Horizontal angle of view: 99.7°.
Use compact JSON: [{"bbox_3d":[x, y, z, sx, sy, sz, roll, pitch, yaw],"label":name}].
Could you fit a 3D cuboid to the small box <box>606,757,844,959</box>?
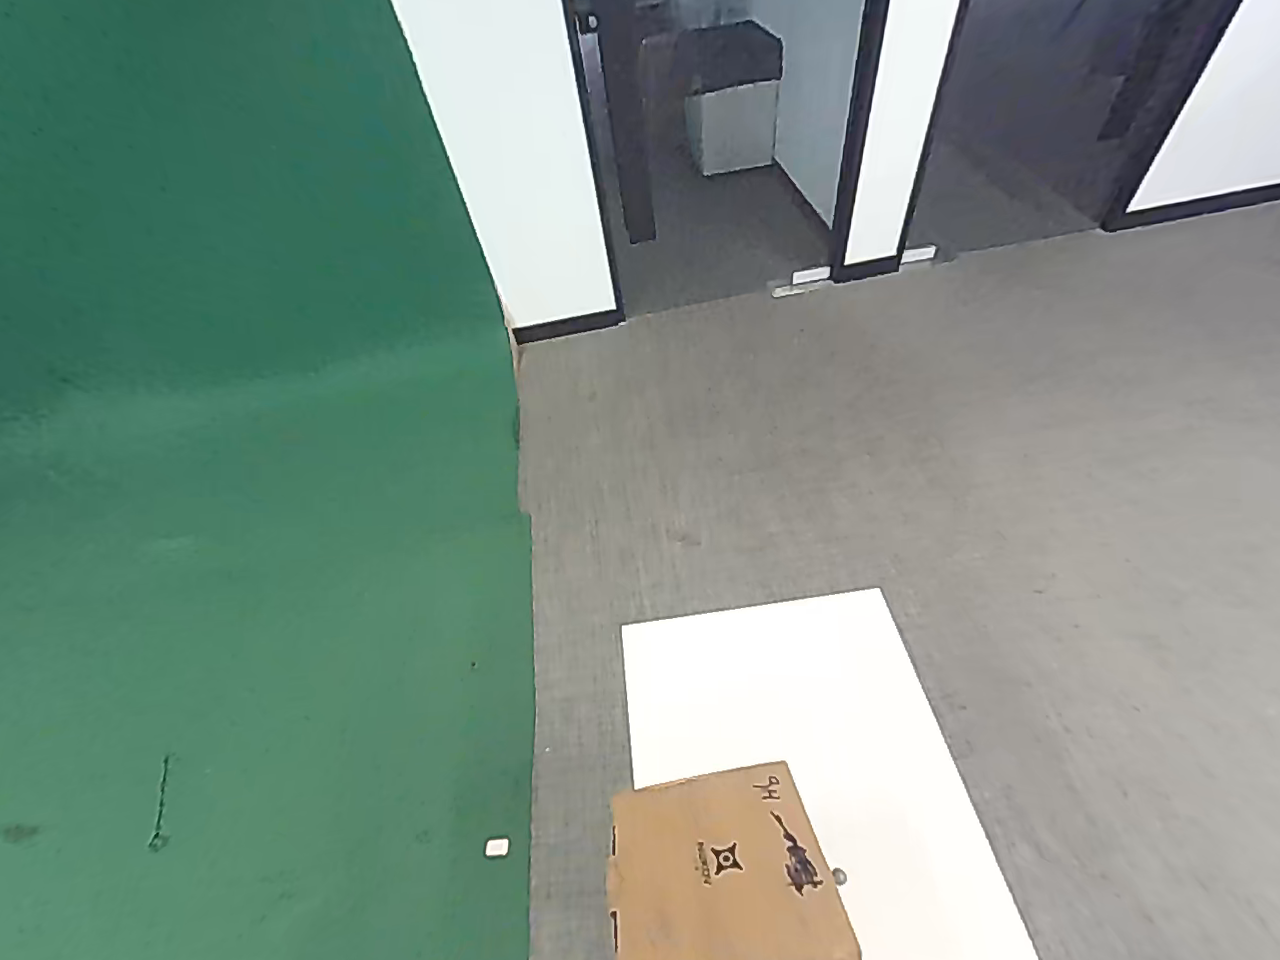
[{"bbox_3d":[0.073,0.390,0.481,0.179,0.176,0.168,-12,20,0],"label":"small box"}]
